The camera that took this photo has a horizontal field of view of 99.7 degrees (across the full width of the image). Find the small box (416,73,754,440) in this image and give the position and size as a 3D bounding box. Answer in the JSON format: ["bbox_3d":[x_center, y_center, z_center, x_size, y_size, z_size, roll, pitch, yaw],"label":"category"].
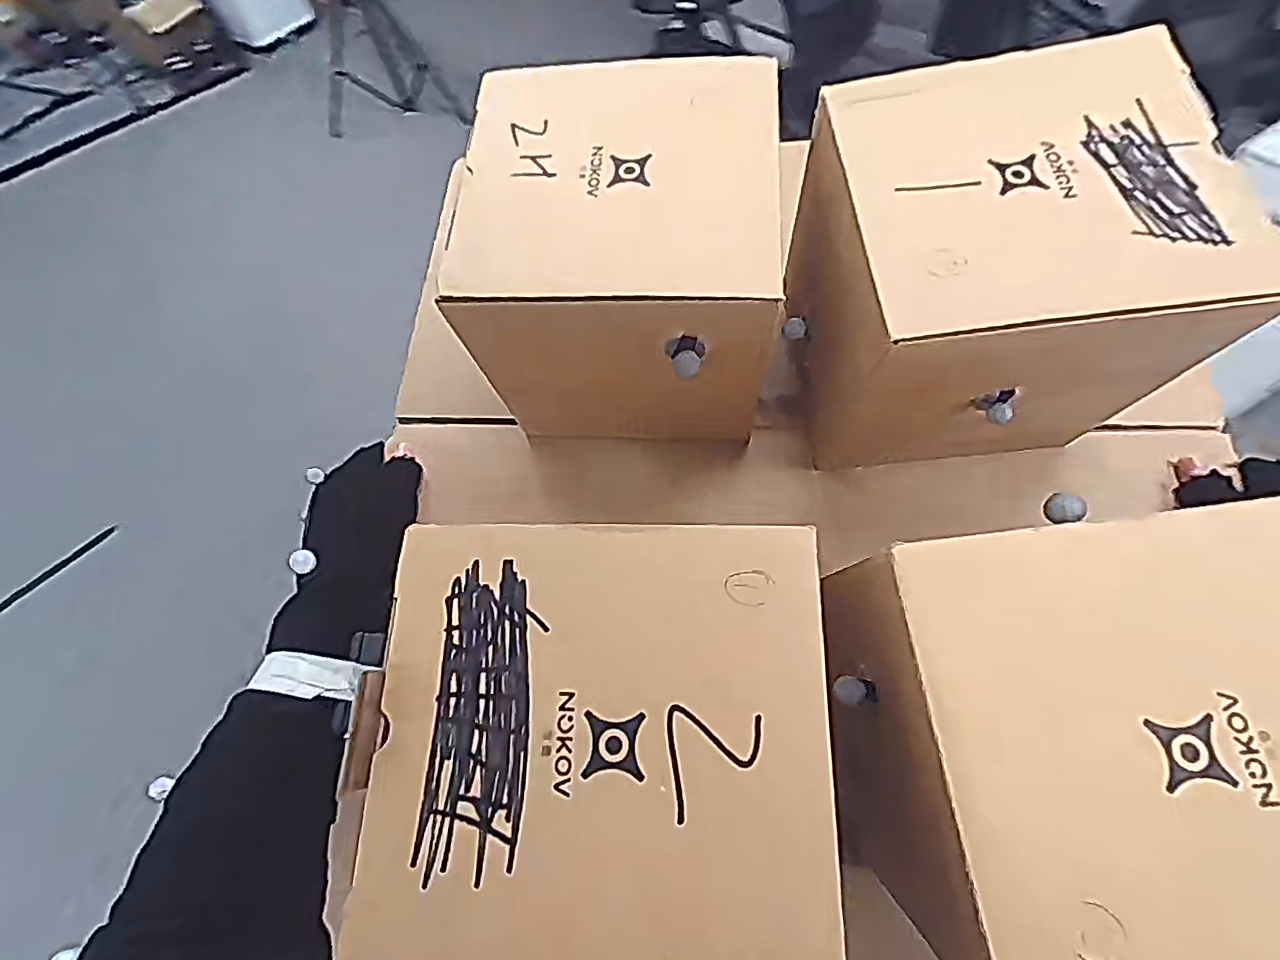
[{"bbox_3d":[-0.019,-0.135,0.373,0.179,0.176,0.168,1,70,7],"label":"small box"}]
